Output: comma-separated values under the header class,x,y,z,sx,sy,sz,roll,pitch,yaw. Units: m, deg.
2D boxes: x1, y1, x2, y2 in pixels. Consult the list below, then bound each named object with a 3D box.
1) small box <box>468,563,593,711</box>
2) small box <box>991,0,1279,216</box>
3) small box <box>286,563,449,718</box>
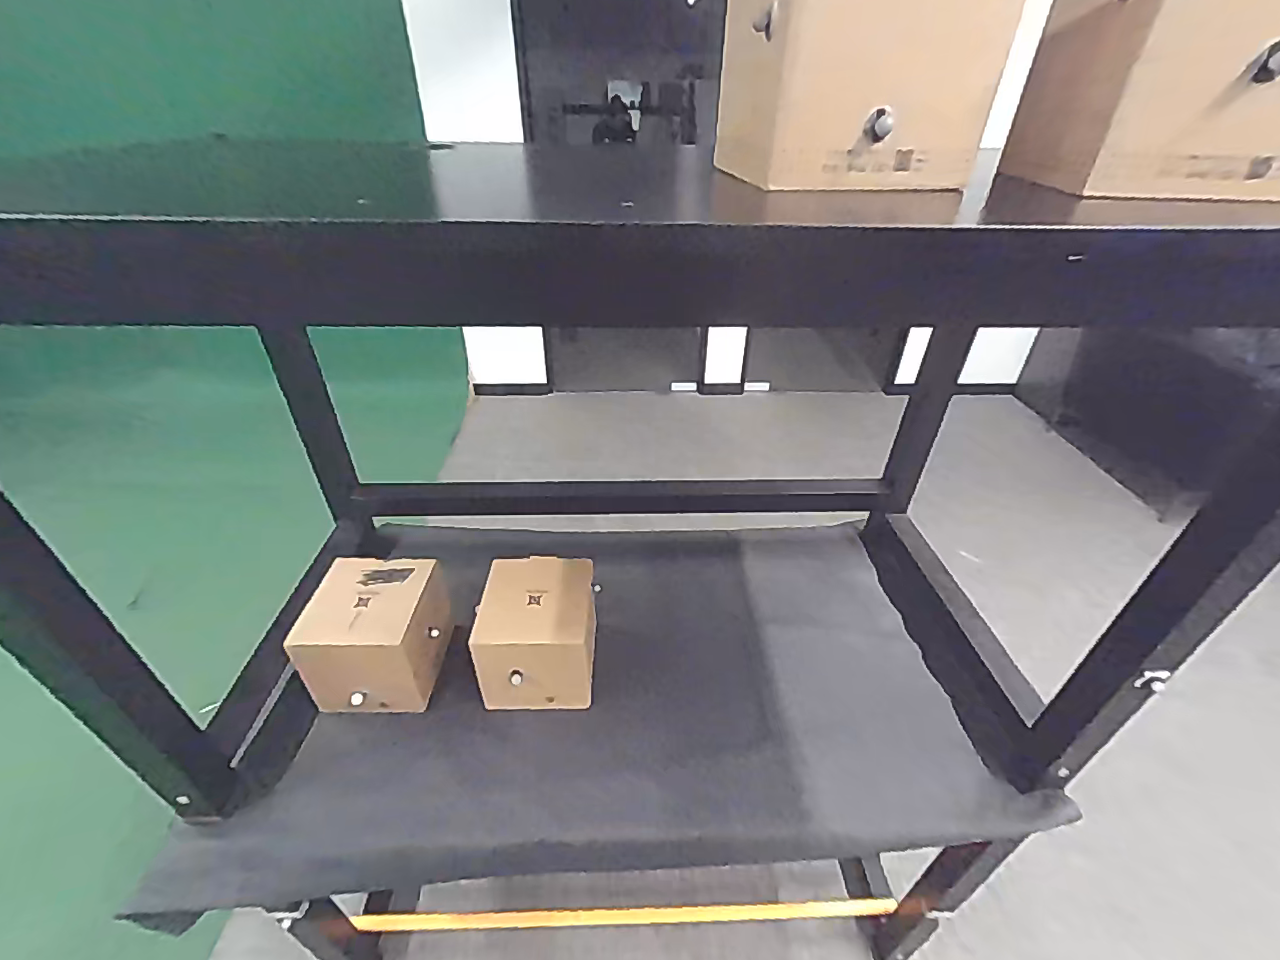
class,x,y,z,sx,sy,sz,roll,pitch,yaw
small box,-0.165,0.255,0.878,0.168,0.176,0.179,0,34,-2
small box,0.414,-0.309,0.418,0.168,0.176,0.179,6,35,7
small box,-0.417,0.254,0.868,0.168,0.176,0.179,0,35,-1
